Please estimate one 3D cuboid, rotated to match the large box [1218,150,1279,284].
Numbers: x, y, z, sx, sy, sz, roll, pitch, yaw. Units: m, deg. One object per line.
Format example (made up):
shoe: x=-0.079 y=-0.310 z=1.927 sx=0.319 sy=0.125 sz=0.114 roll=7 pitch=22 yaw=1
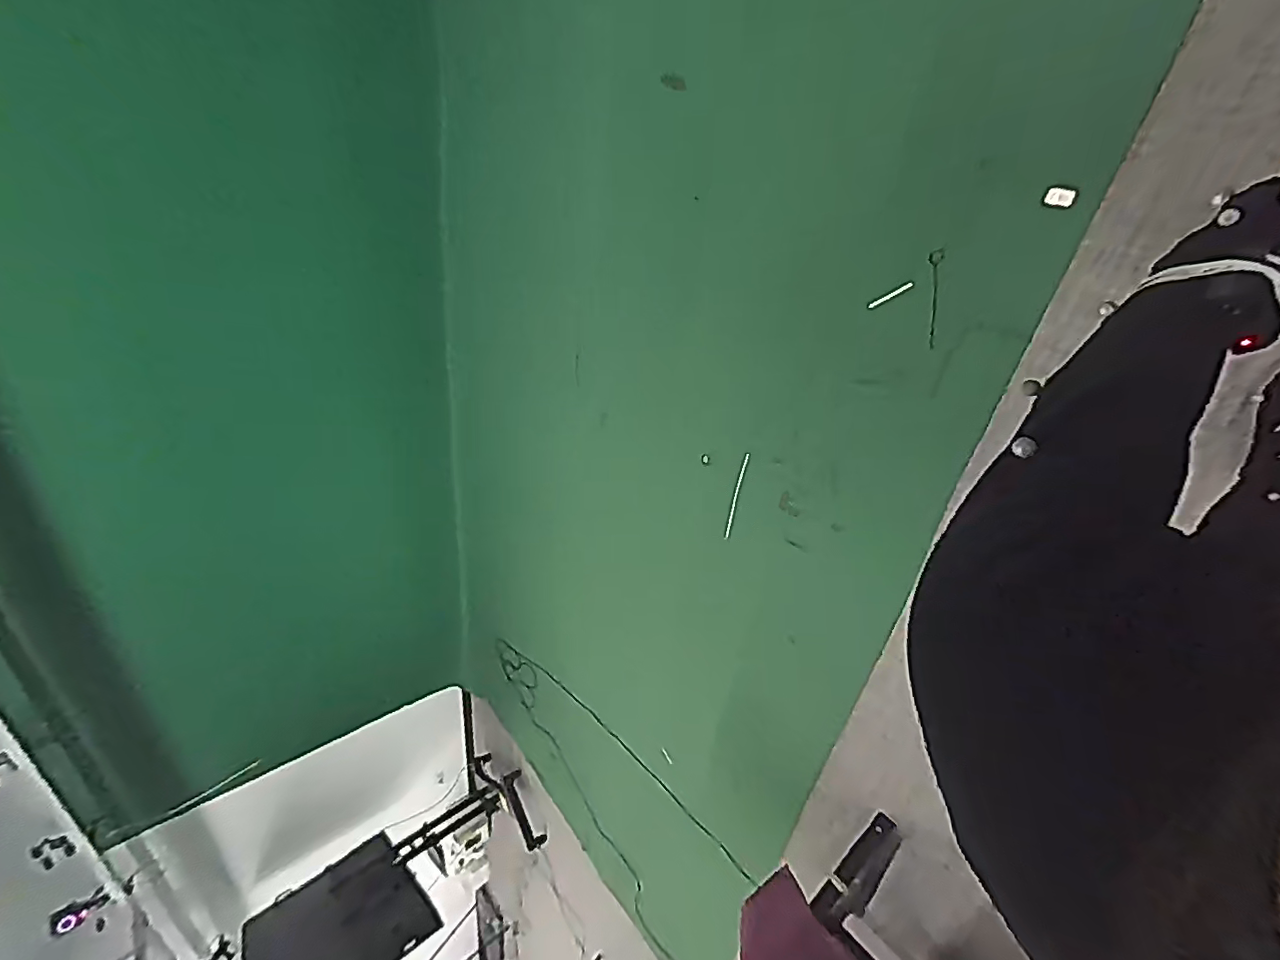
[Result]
large box: x=1.060 y=-0.443 z=0.682 sx=0.320 sy=0.320 sz=0.408 roll=33 pitch=126 yaw=39
